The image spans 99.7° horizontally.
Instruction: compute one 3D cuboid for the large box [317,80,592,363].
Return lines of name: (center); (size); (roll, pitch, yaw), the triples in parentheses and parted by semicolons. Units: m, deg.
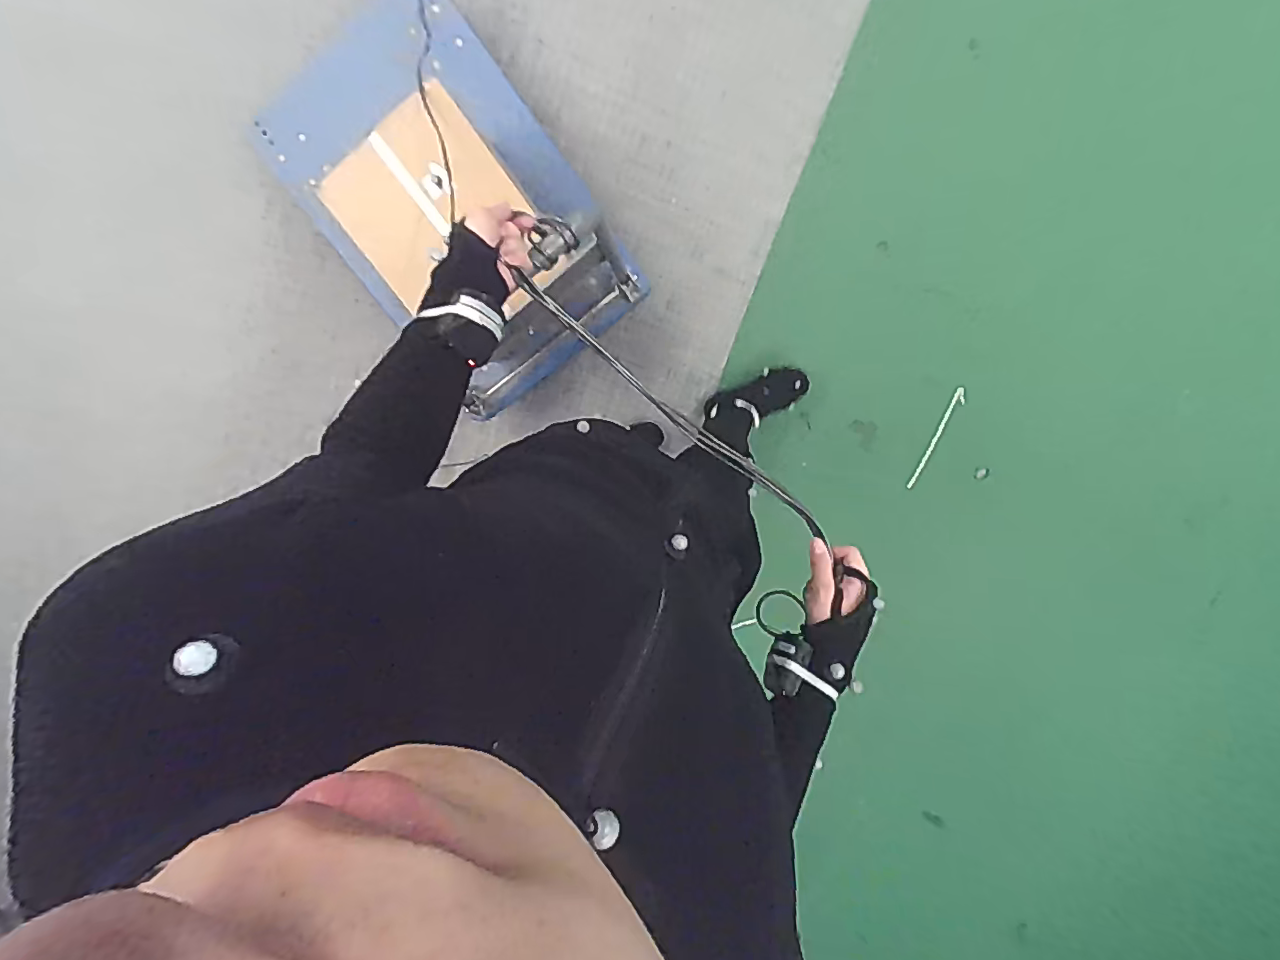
large box: (-0.357, -0.505, 1.157); (0.320, 0.320, 0.408); (-36, 100, 9)
